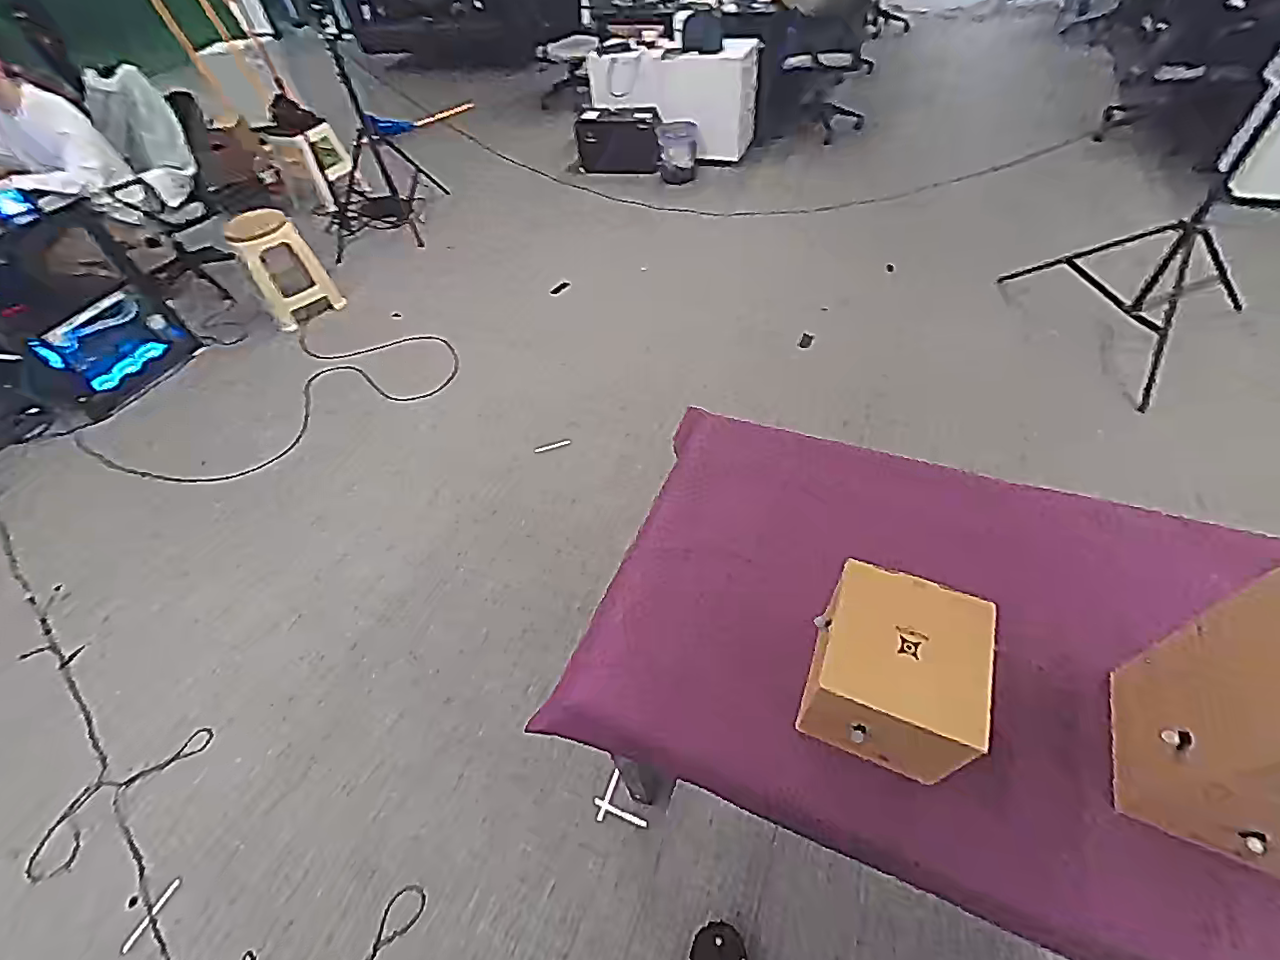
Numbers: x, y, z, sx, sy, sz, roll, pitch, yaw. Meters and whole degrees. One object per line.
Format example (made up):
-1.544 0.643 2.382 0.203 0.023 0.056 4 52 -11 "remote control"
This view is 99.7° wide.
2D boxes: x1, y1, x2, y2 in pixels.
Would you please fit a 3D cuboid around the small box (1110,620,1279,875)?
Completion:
0.645 0.288 0.576 0.168 0.176 0.179 18 54 19 "small box"

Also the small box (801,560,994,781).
0.303 0.233 0.658 0.168 0.176 0.179 17 52 19 "small box"

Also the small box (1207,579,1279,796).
0.636 0.180 0.451 0.168 0.176 0.179 18 55 20 "small box"
